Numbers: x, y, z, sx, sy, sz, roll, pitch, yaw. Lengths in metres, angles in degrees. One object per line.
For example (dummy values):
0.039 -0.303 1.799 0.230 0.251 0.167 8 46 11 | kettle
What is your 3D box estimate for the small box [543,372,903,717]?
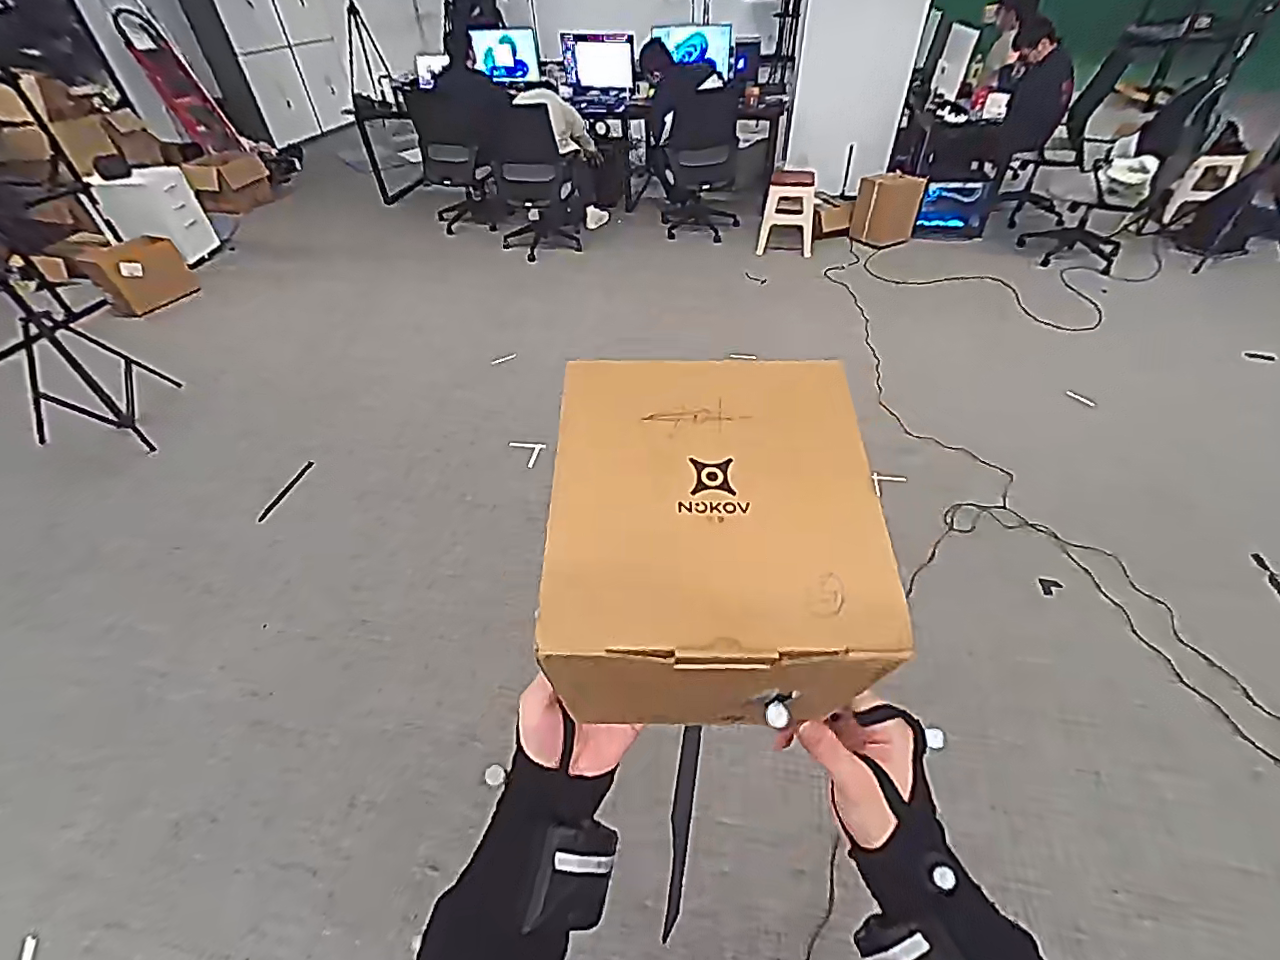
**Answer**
0.038 0.050 0.354 0.168 0.176 0.179 0 56 -1 | small box
